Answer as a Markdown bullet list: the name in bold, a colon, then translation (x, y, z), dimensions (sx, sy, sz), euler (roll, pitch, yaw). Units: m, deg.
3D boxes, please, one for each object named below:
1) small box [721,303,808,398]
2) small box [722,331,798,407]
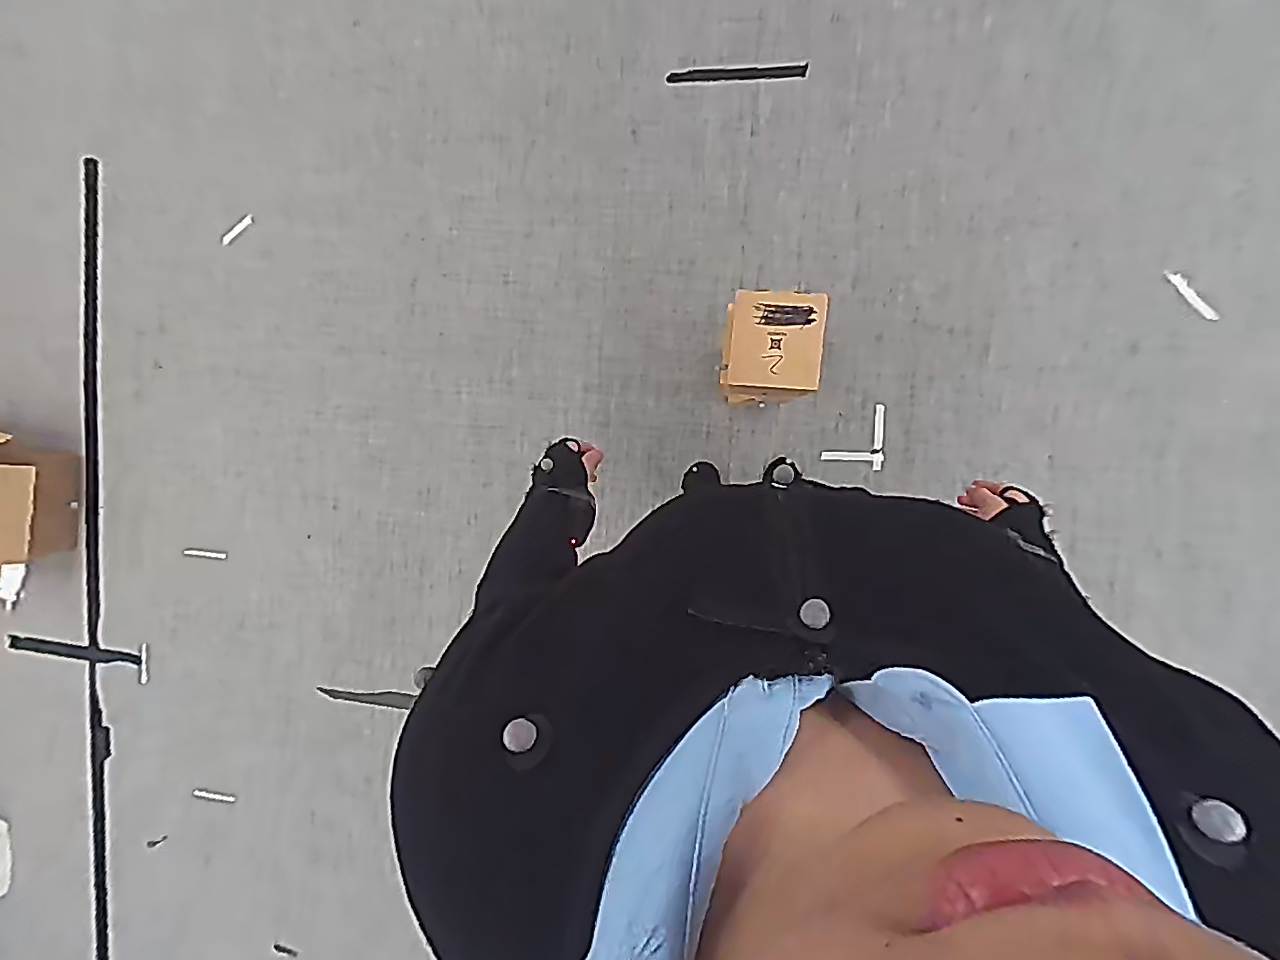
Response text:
- **small box**: translation (0.272, -0.286, 1.220), dimensions (0.168, 0.176, 0.179), euler (5, 94, 7)
- **small box**: translation (0.300, -0.288, 1.380), dimensions (0.168, 0.176, 0.179), euler (-8, 92, 9)
